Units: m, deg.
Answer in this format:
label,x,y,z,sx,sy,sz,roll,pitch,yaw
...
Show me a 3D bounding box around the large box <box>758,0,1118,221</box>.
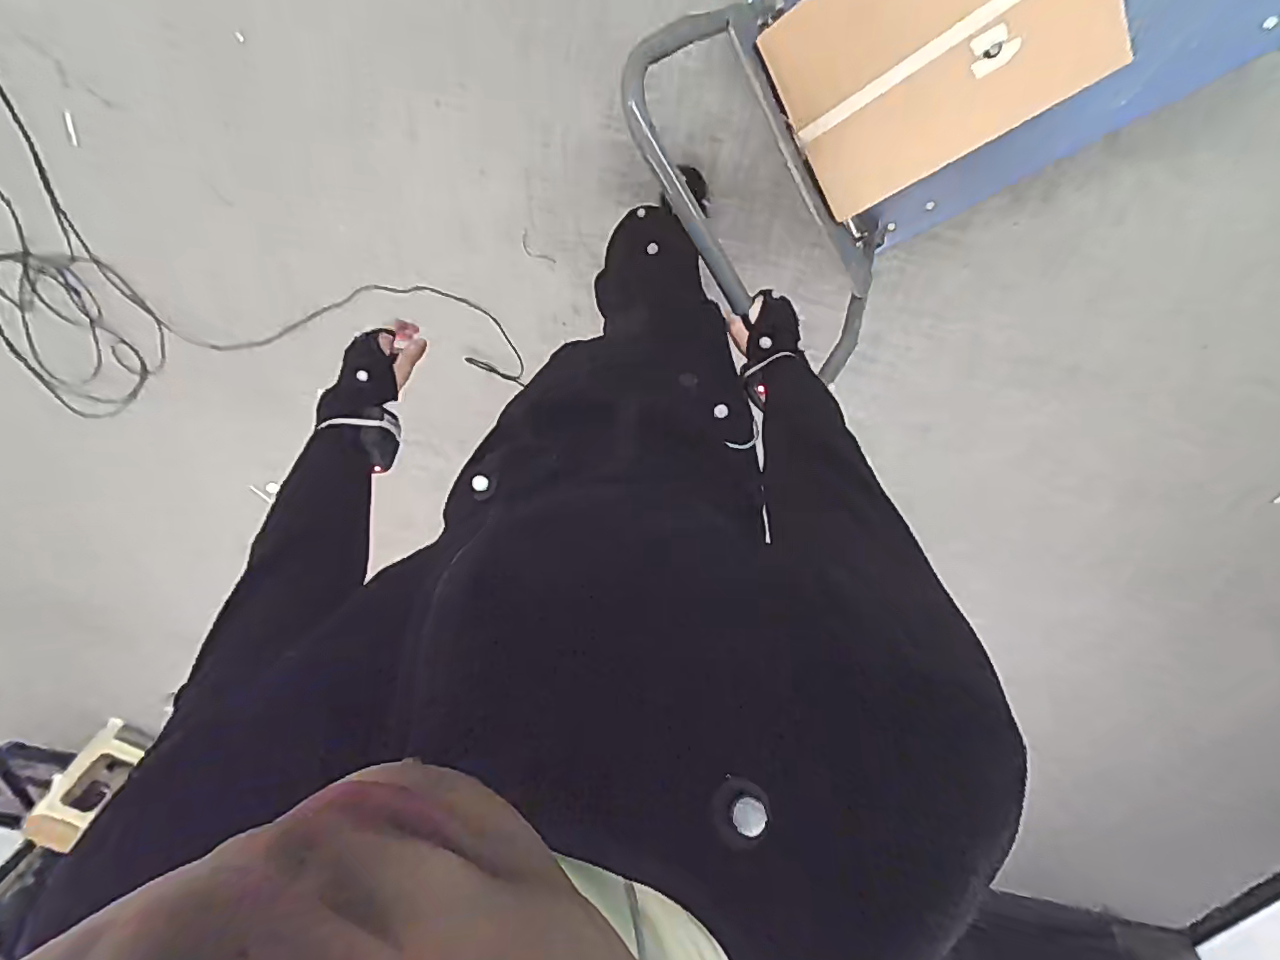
label,x,y,z,sx,sy,sz,roll,pitch,yaw
large box,0.462,-0.713,0.898,0.408,0.320,0.320,-20,118,34
